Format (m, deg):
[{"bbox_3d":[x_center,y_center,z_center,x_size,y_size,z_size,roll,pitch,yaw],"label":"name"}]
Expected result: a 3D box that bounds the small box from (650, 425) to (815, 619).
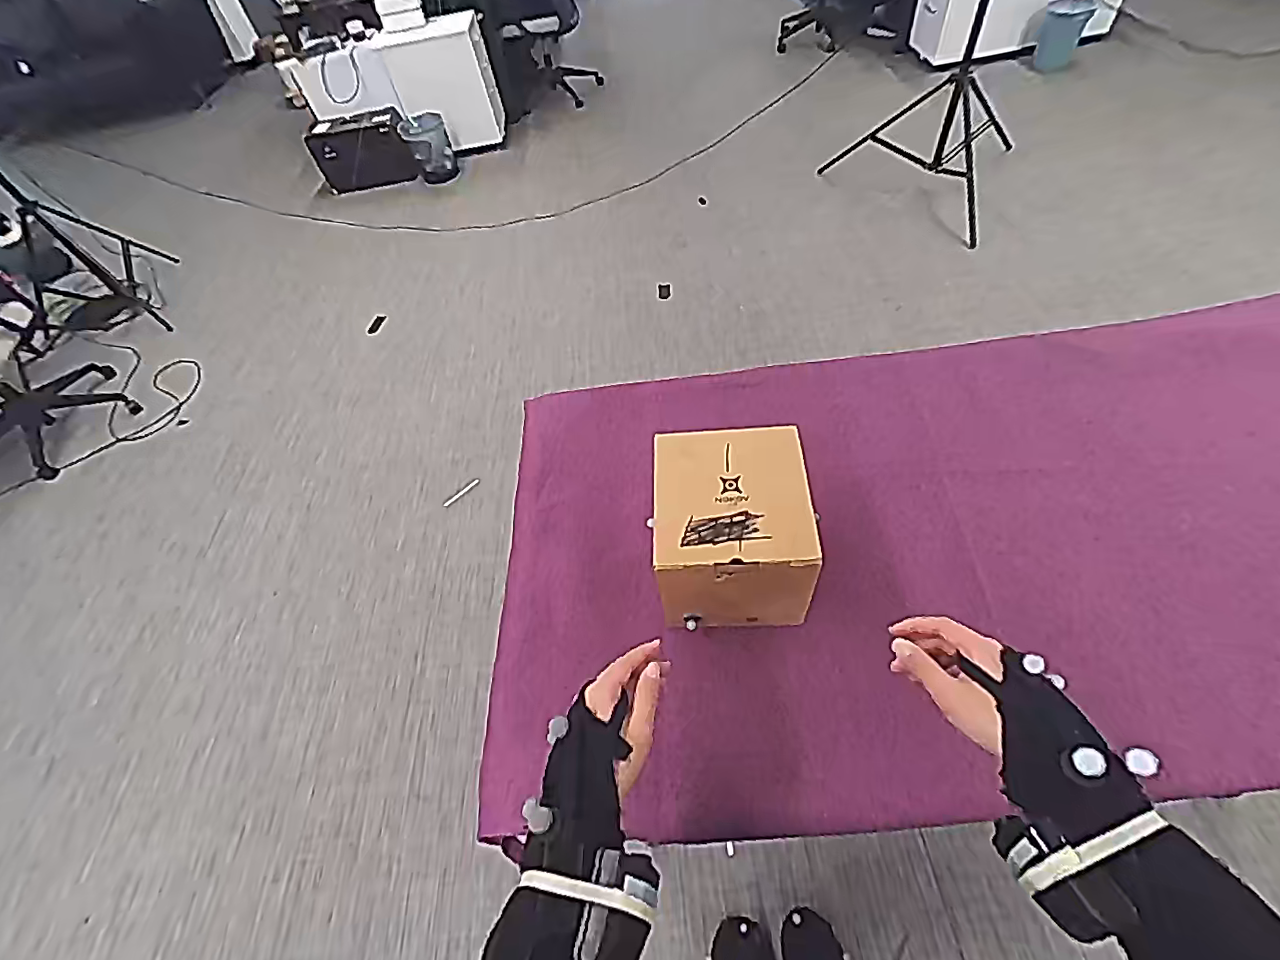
[{"bbox_3d":[0.104,0.058,0.645,0.168,0.176,0.179,-3,53,6],"label":"small box"}]
